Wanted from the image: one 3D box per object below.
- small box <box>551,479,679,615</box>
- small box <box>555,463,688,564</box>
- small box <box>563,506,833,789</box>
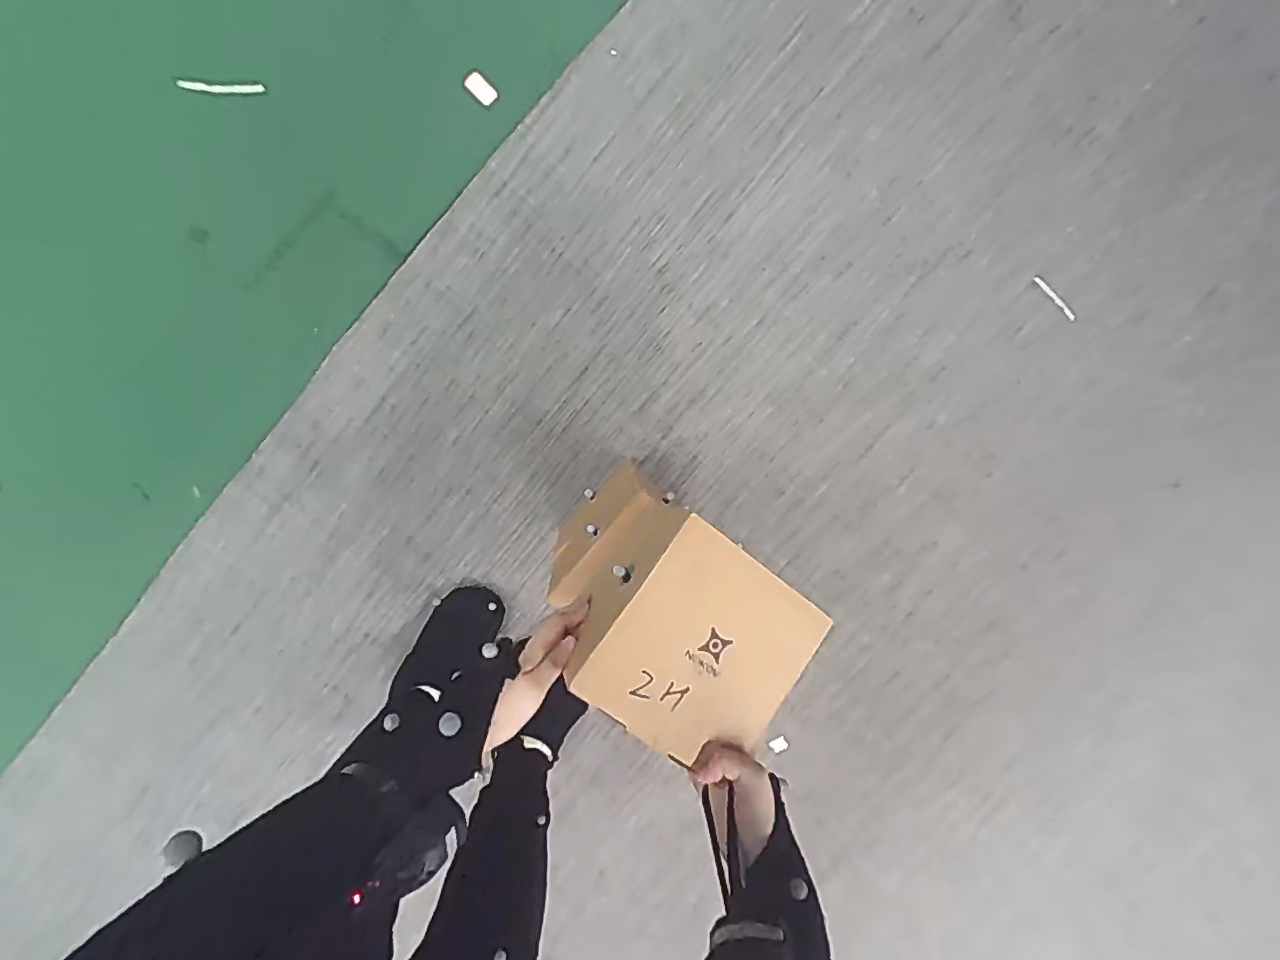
[{"bbox_3d":[0.003,0.117,0.708,0.168,0.176,0.179,41,93,-8],"label":"small box"},{"bbox_3d":[-0.013,0.093,0.869,0.168,0.176,0.179,44,93,-9],"label":"small box"},{"bbox_3d":[0.039,0.139,0.521,0.168,0.176,0.179,38,83,-9],"label":"small box"}]
